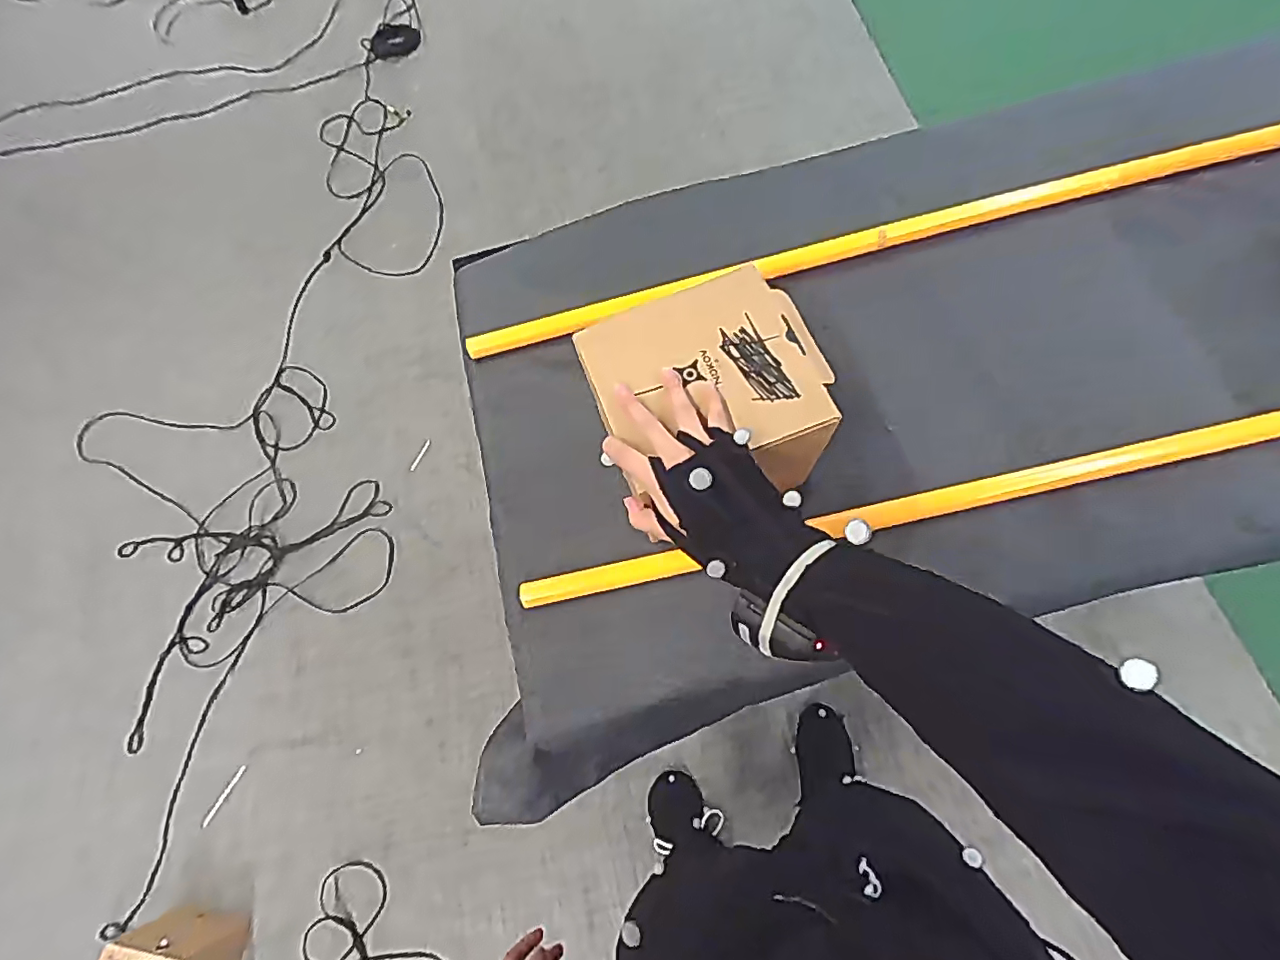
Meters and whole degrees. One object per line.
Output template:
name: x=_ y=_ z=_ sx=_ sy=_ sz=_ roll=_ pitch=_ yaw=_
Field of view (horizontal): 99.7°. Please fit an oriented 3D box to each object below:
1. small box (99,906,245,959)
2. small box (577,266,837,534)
small box: x=-0.915 y=0.970 z=1.040 sx=0.168 sy=0.176 sz=0.179 roll=6 pitch=71 yaw=8
small box: x=0.057 y=-0.065 z=0.527 sx=0.179 sy=0.176 sz=0.168 roll=-21 pitch=70 yaw=-2
